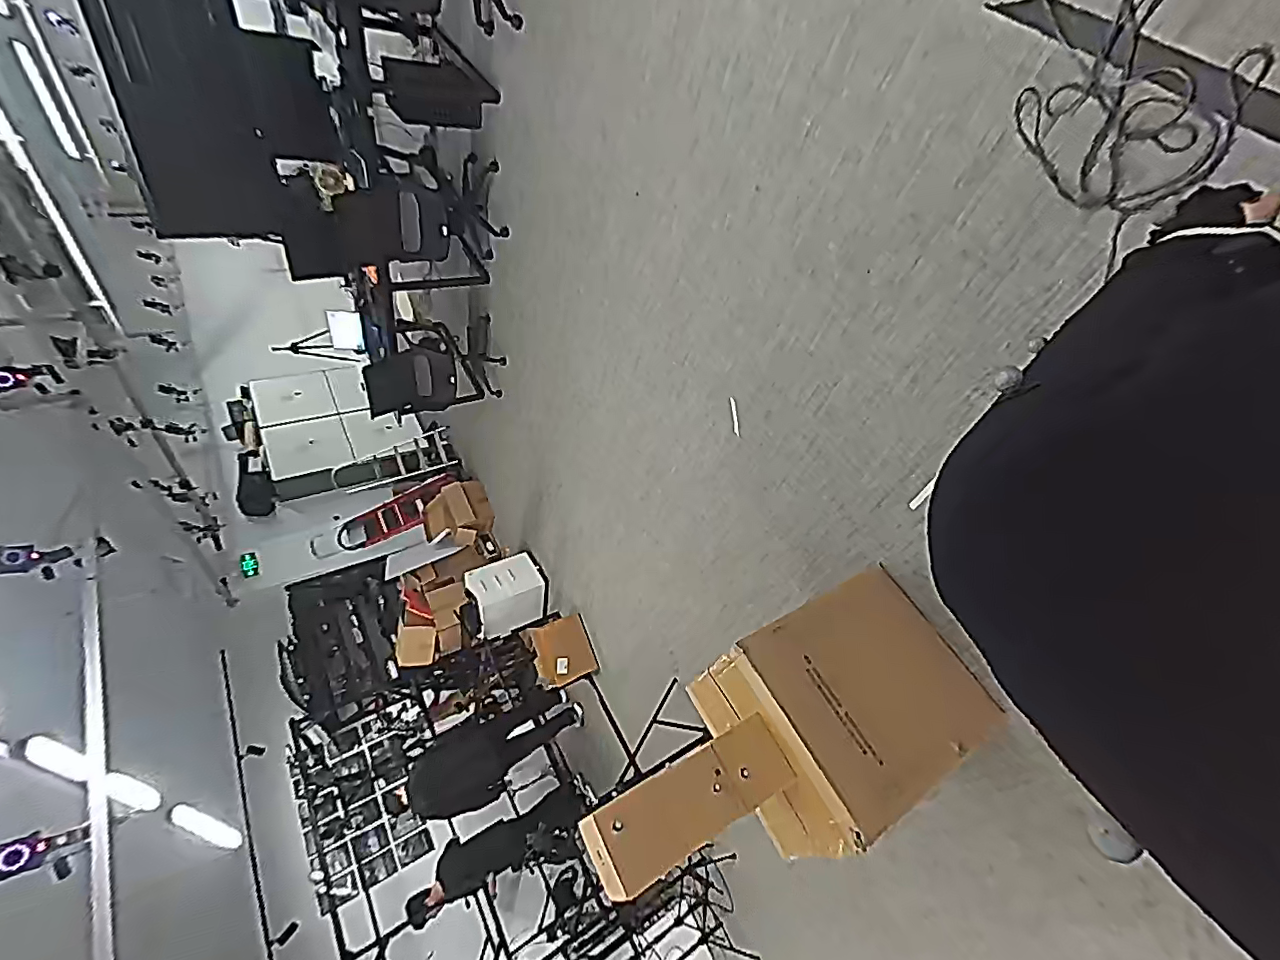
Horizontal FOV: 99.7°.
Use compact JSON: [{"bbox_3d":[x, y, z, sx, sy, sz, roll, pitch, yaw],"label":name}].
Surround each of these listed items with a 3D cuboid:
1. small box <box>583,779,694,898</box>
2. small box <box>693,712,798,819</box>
[{"bbox_3d":[-0.007,0.813,1.238,0.179,0.176,0.168,58,147,26],"label":"small box"},{"bbox_3d":[0.272,0.734,1.395,0.179,0.176,0.168,58,148,25],"label":"small box"}]
